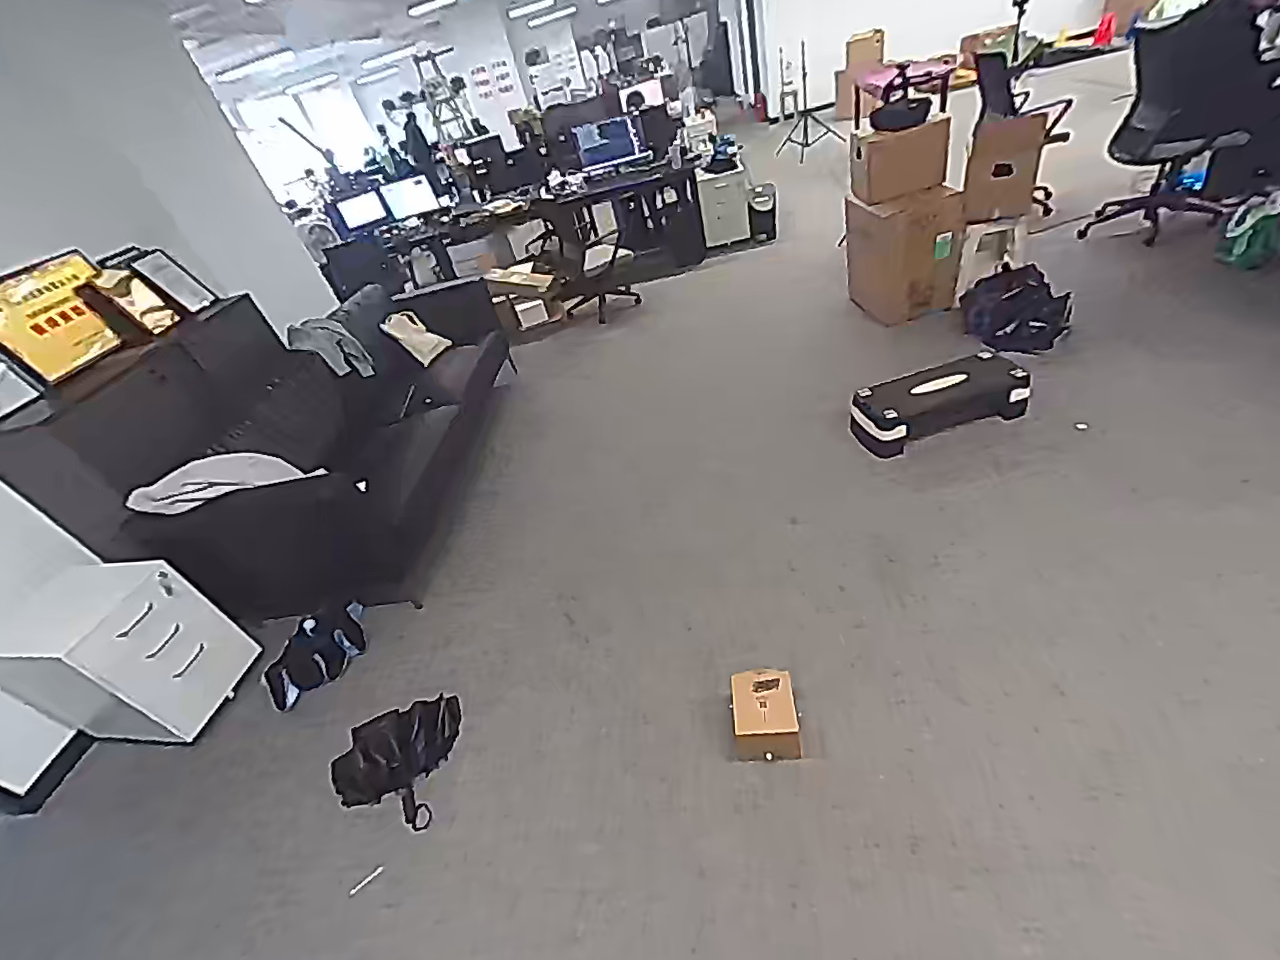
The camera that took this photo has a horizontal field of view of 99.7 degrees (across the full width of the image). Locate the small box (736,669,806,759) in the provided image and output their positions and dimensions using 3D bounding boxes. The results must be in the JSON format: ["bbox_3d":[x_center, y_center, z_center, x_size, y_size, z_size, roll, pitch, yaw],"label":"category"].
[{"bbox_3d":[0.366,0.656,1.516,0.168,0.176,0.179,-9,39,13],"label":"small box"}]
